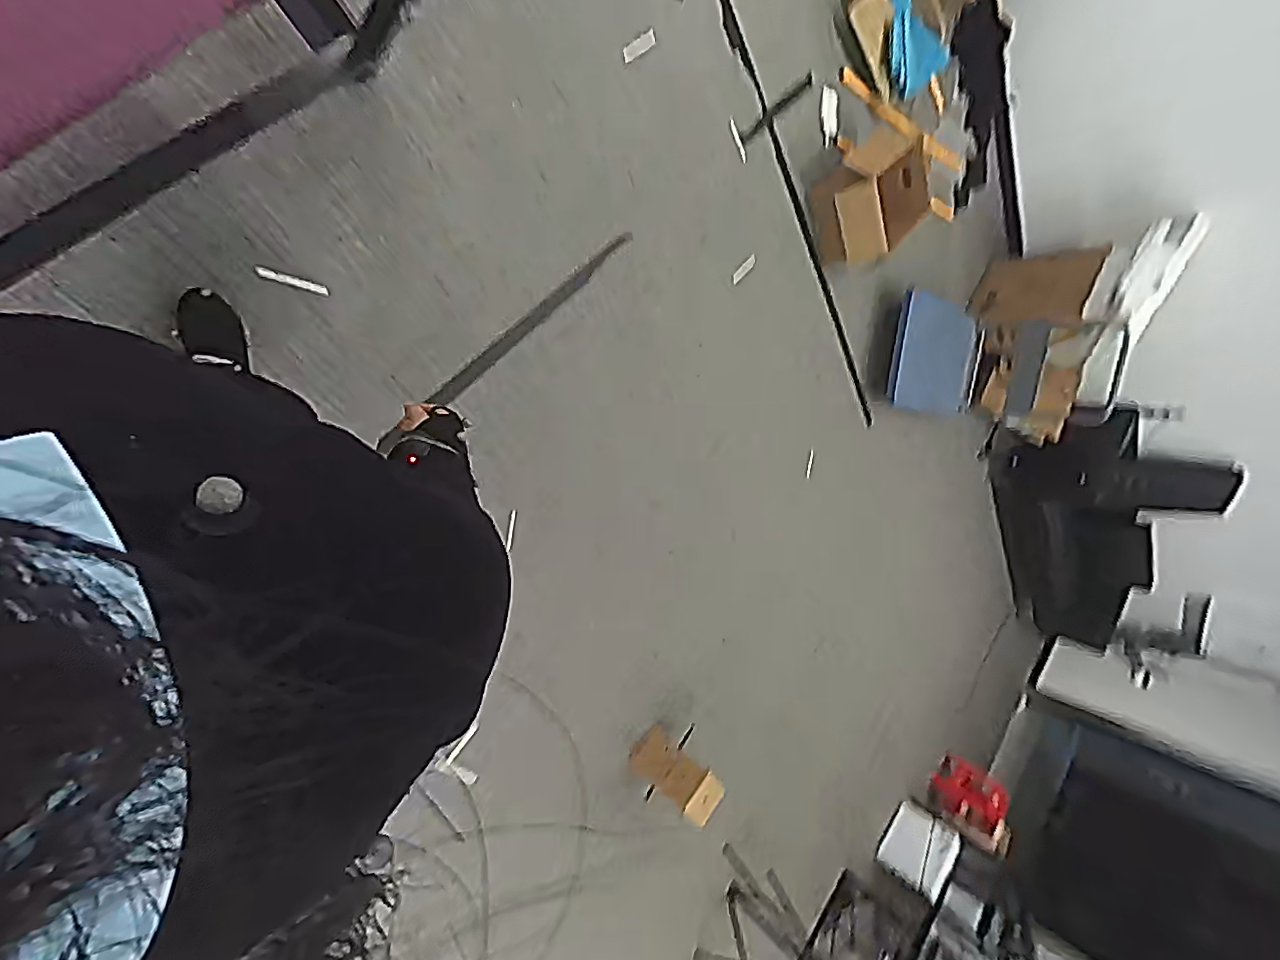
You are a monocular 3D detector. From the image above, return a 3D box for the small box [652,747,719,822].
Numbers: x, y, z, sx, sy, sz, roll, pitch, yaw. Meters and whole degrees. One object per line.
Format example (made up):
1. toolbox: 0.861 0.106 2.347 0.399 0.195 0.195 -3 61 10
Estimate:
1. small box: 0.174 1.183 2.117 0.168 0.176 0.179 -45 126 -22
